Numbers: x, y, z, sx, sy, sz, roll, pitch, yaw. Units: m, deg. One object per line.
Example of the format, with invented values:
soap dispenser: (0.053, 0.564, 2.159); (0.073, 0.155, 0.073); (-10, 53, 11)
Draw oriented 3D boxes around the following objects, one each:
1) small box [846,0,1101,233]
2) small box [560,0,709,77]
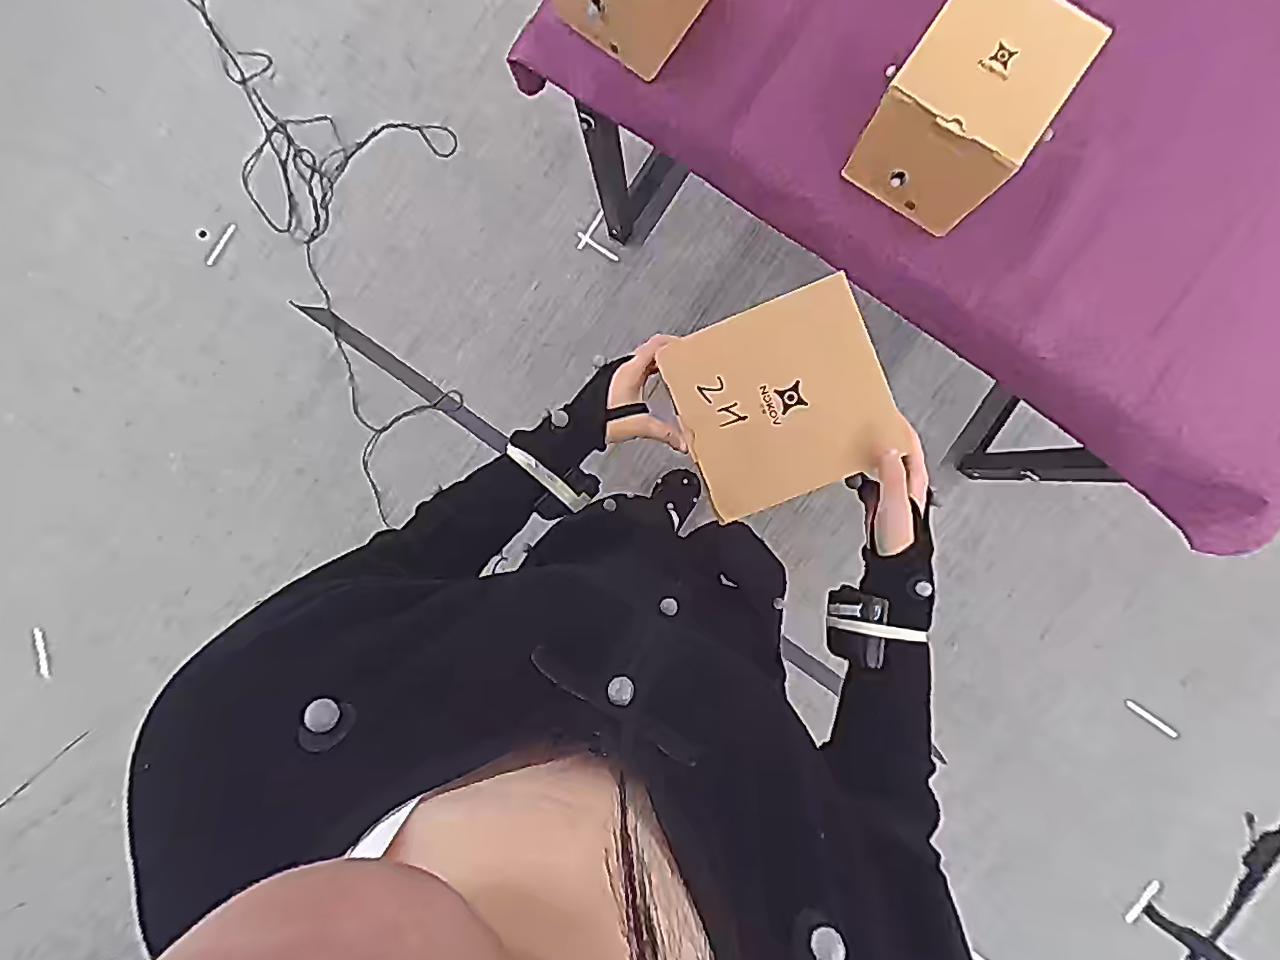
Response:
small box: (0.386, -0.449, 0.664); (0.168, 0.176, 0.179); (34, 92, 2)
small box: (-0.005, -0.669, 0.677); (0.168, 0.176, 0.179); (36, 93, 1)
